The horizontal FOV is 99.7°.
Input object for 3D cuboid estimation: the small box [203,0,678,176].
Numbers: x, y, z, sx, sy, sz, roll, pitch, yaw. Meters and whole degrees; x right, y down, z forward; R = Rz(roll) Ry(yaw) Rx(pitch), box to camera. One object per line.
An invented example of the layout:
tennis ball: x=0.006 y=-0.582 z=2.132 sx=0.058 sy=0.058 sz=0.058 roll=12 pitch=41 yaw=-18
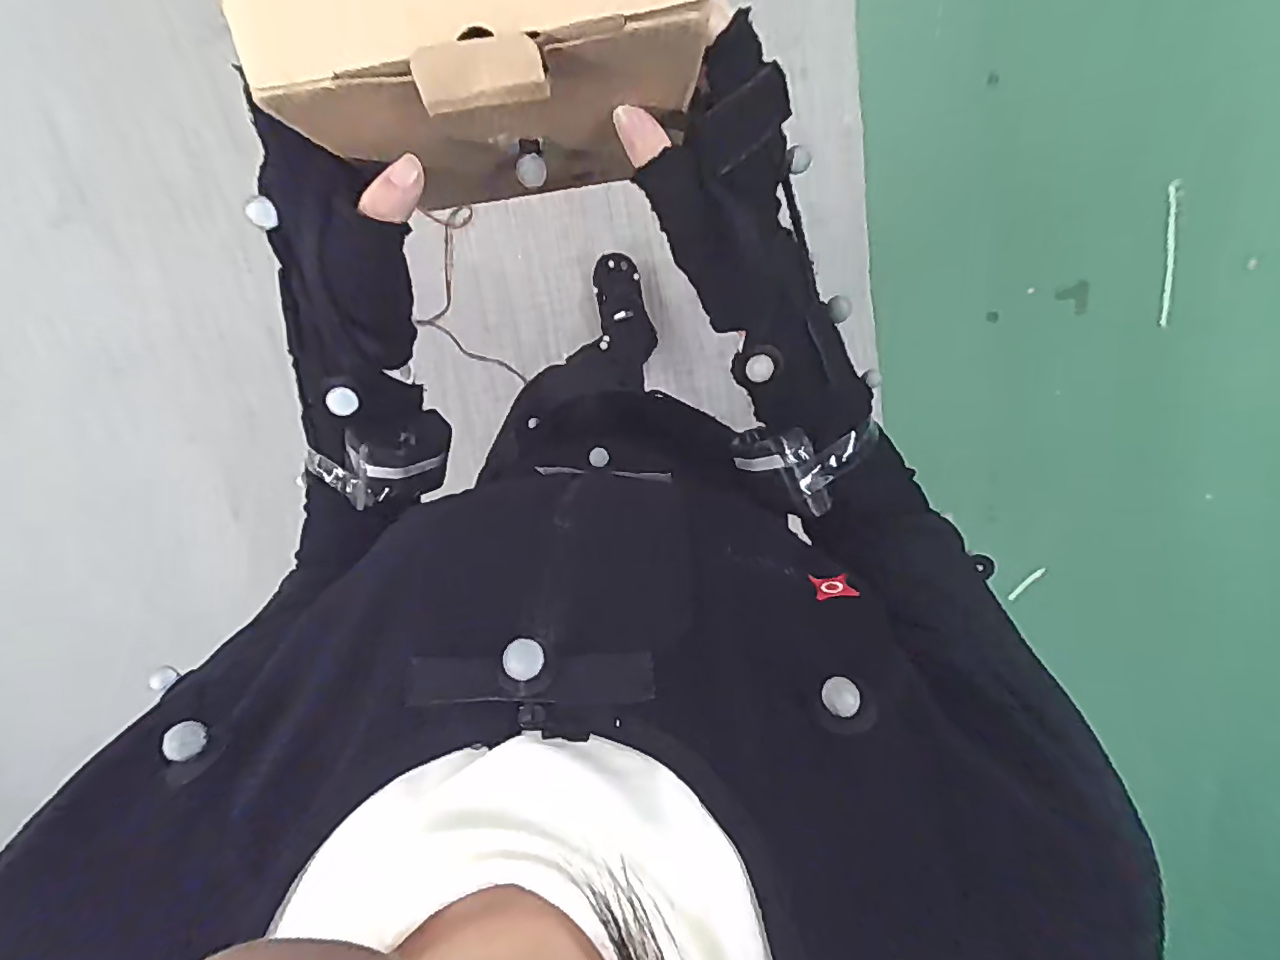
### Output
small box: x=-0.075 y=-0.254 z=0.241 sx=0.168 sy=0.176 sz=0.179 roll=-7 pitch=105 yaw=2

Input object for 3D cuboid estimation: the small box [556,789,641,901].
small box: x=-0.098 y=0.907 z=1.361 sx=0.168 sy=0.176 sz=0.179 roll=-11 pitch=105 yaw=8

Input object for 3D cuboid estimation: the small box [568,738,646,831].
small box: x=-0.086 y=0.858 z=1.514 sx=0.179 sy=0.176 sz=0.168 roll=-13 pitch=104 yaw=5
